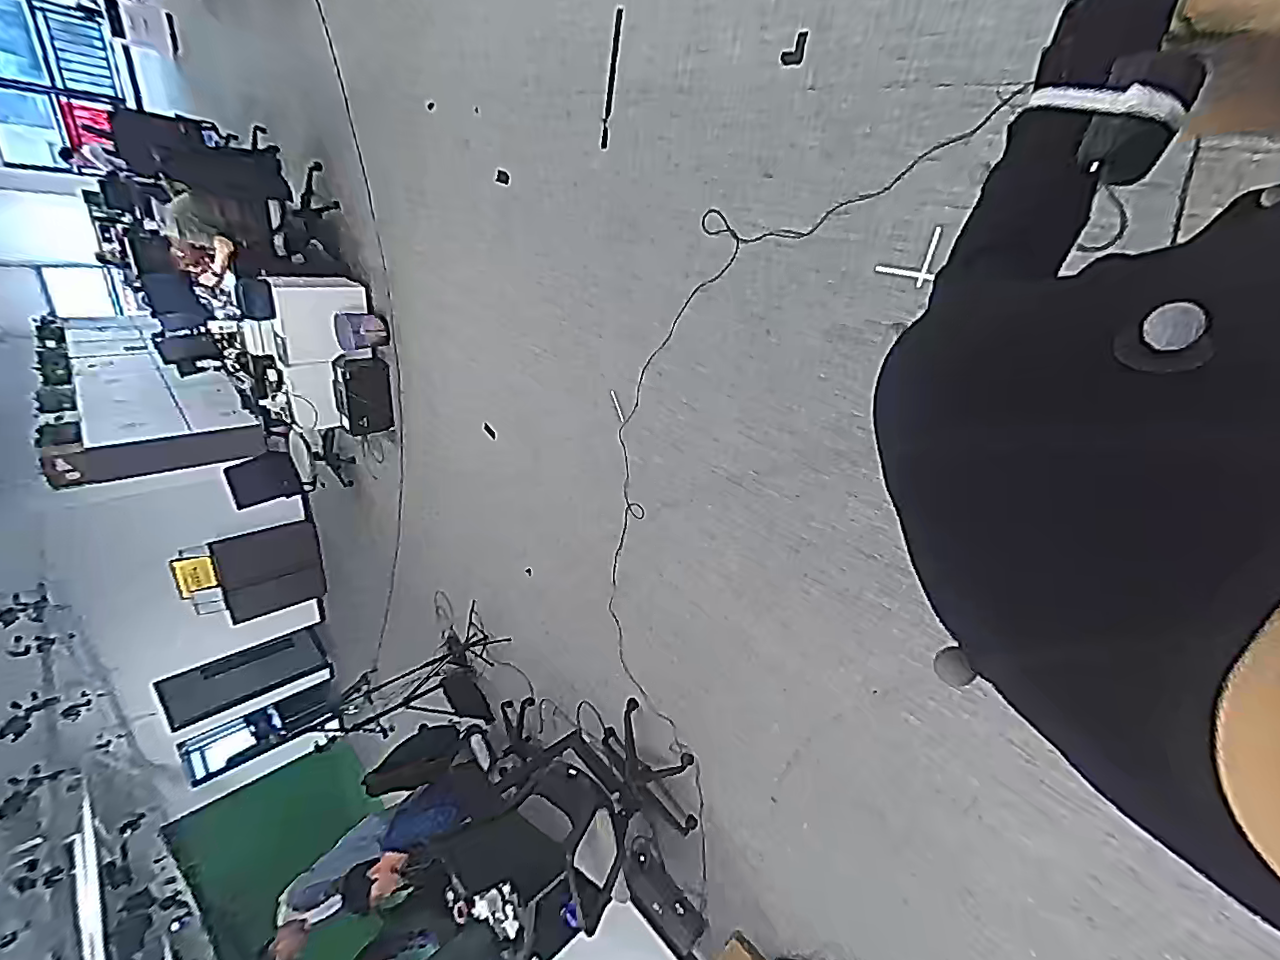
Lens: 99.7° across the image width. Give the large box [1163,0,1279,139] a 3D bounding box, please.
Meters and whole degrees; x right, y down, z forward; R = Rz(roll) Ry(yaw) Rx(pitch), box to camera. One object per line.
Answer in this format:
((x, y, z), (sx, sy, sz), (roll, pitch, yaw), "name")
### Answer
((0.594, -0.378, 0.270), (0.408, 0.320, 0.320), (27, 123, 34), "large box")
